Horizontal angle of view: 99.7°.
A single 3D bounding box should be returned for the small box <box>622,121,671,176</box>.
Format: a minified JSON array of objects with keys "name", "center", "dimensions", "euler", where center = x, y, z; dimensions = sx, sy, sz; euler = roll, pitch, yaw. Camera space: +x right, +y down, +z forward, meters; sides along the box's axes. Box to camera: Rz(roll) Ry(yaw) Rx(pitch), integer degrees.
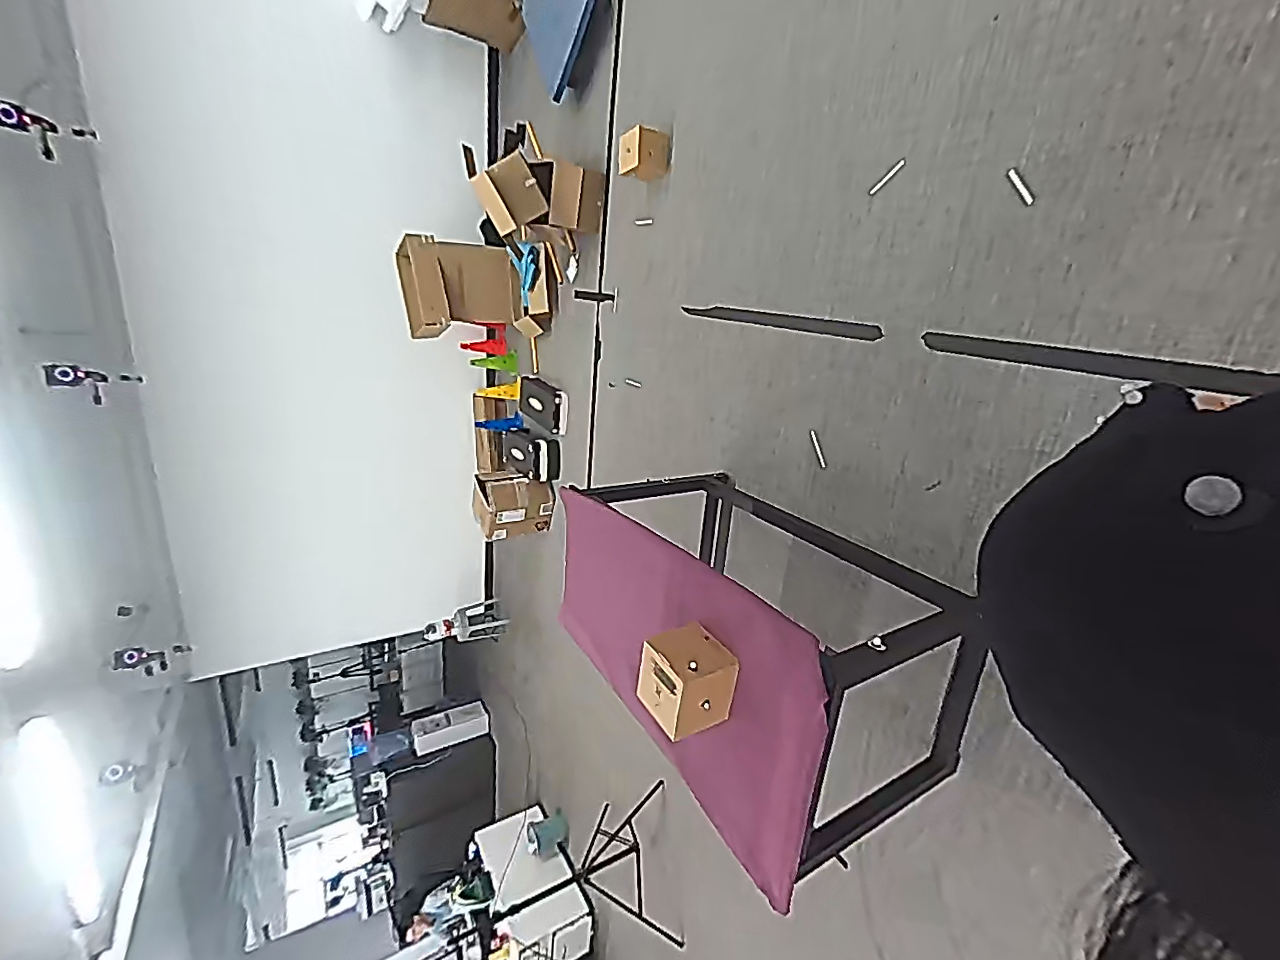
[{"name":"small box","center":[0.031,-1.533,2.509],"dimensions":[0.179,0.176,0.168],"euler":[21,113,56]}]
